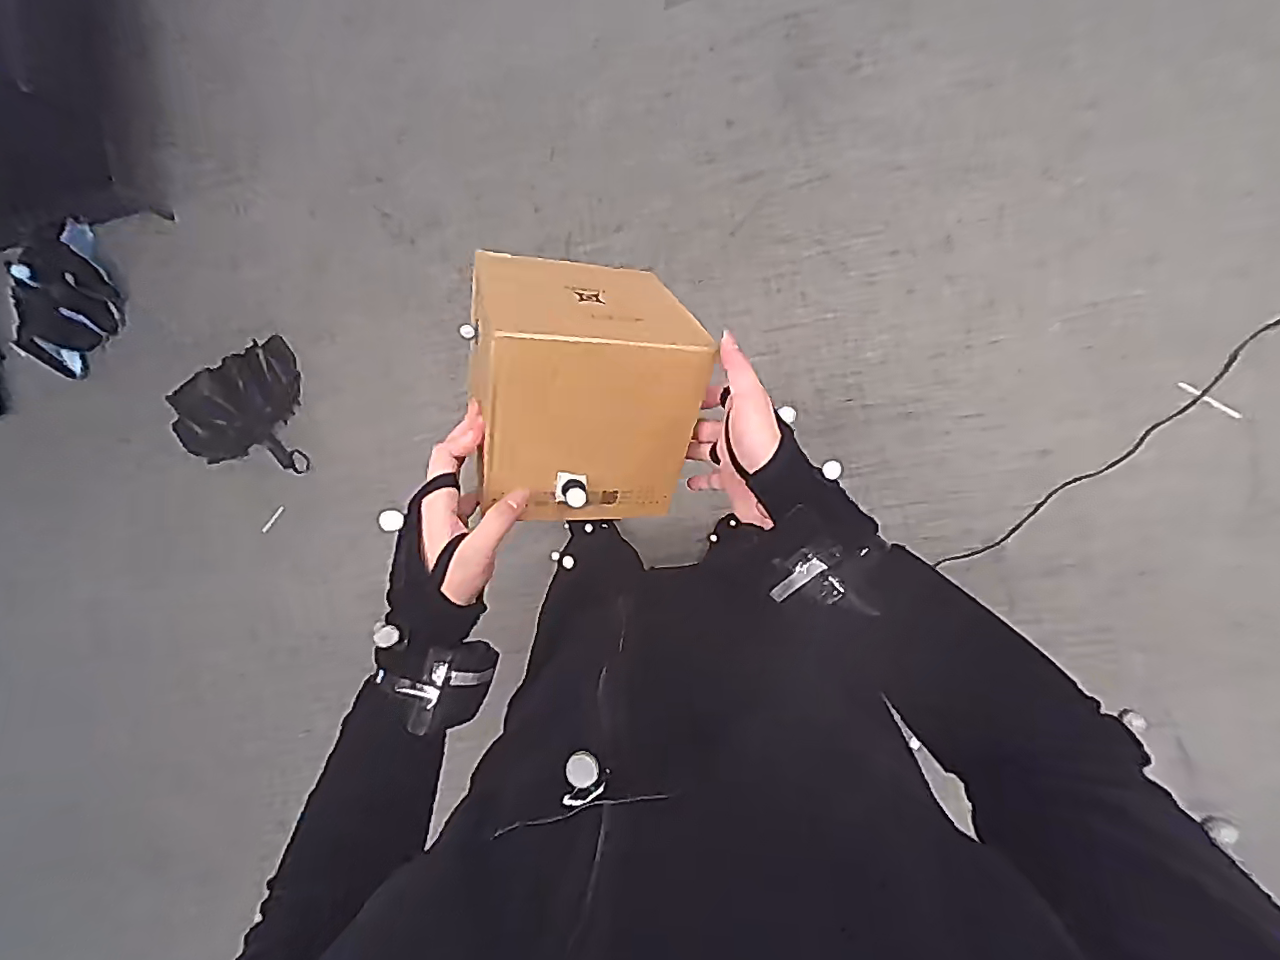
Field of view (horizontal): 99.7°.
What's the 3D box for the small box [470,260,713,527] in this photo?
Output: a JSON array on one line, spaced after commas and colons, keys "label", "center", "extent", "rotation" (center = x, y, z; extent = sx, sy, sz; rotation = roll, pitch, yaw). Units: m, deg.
[{"label": "small box", "center": [-0.061, -0.077, 0.489], "extent": [0.168, 0.179, 0.176], "rotation": [-2, 129, -22]}]
